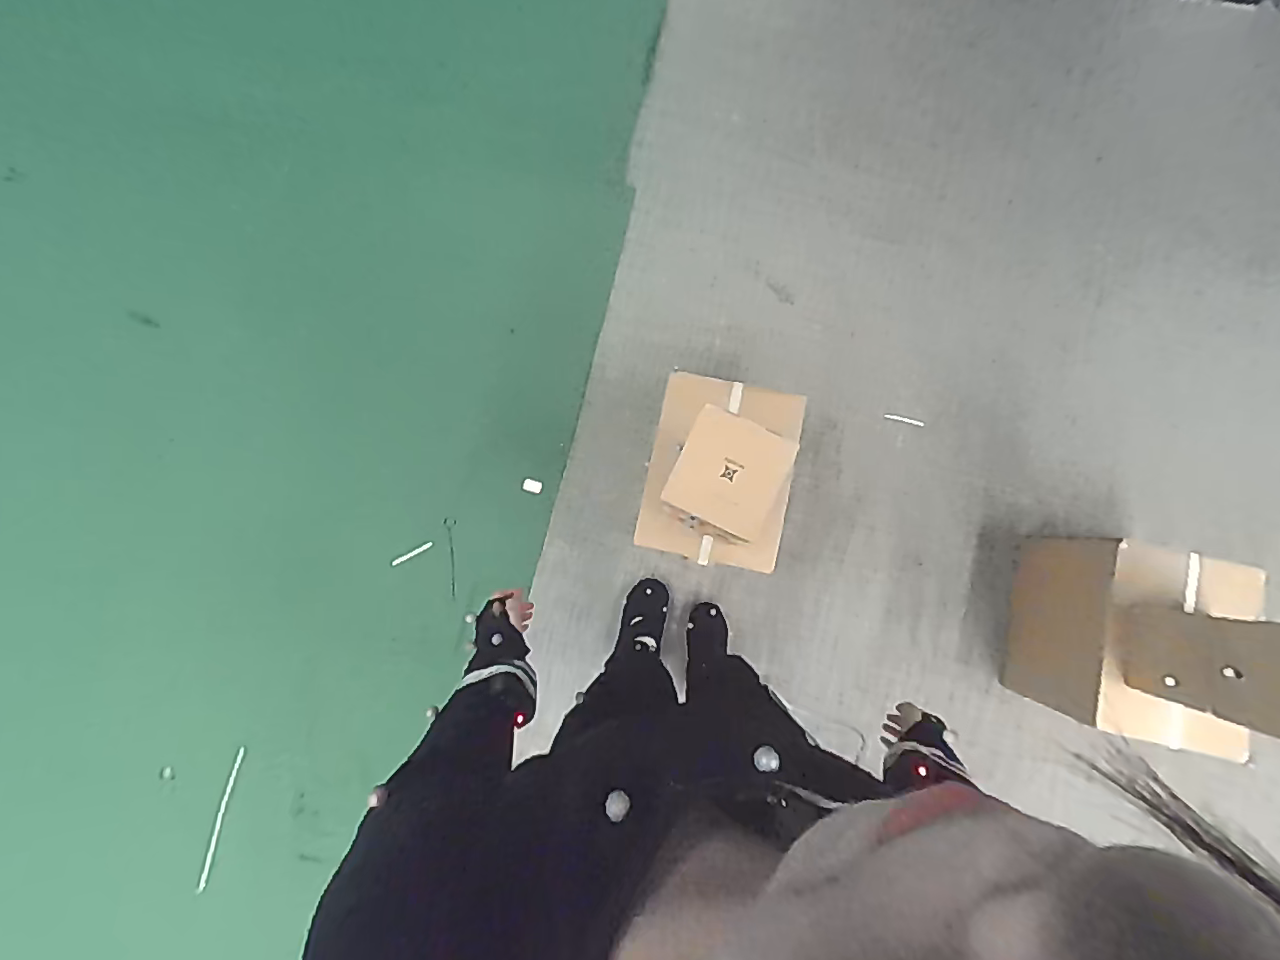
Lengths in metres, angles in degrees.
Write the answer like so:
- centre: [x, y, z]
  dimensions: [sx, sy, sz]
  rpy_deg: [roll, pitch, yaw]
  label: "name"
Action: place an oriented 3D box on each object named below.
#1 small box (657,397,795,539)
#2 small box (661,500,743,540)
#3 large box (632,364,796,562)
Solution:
- centre: [0.136, -0.015, 0.915]
  dimensions: [0.168, 0.176, 0.179]
  rpy_deg: [24, 88, 5]
  label: "small box"
- centre: [0.145, 0.007, 1.076]
  dimensions: [0.168, 0.176, 0.179]
  rpy_deg: [20, 87, 4]
  label: "small box"
- centre: [0.168, -0.026, 1.323]
  dimensions: [0.320, 0.320, 0.408]
  rpy_deg: [10, 85, 2]
  label: "large box"
